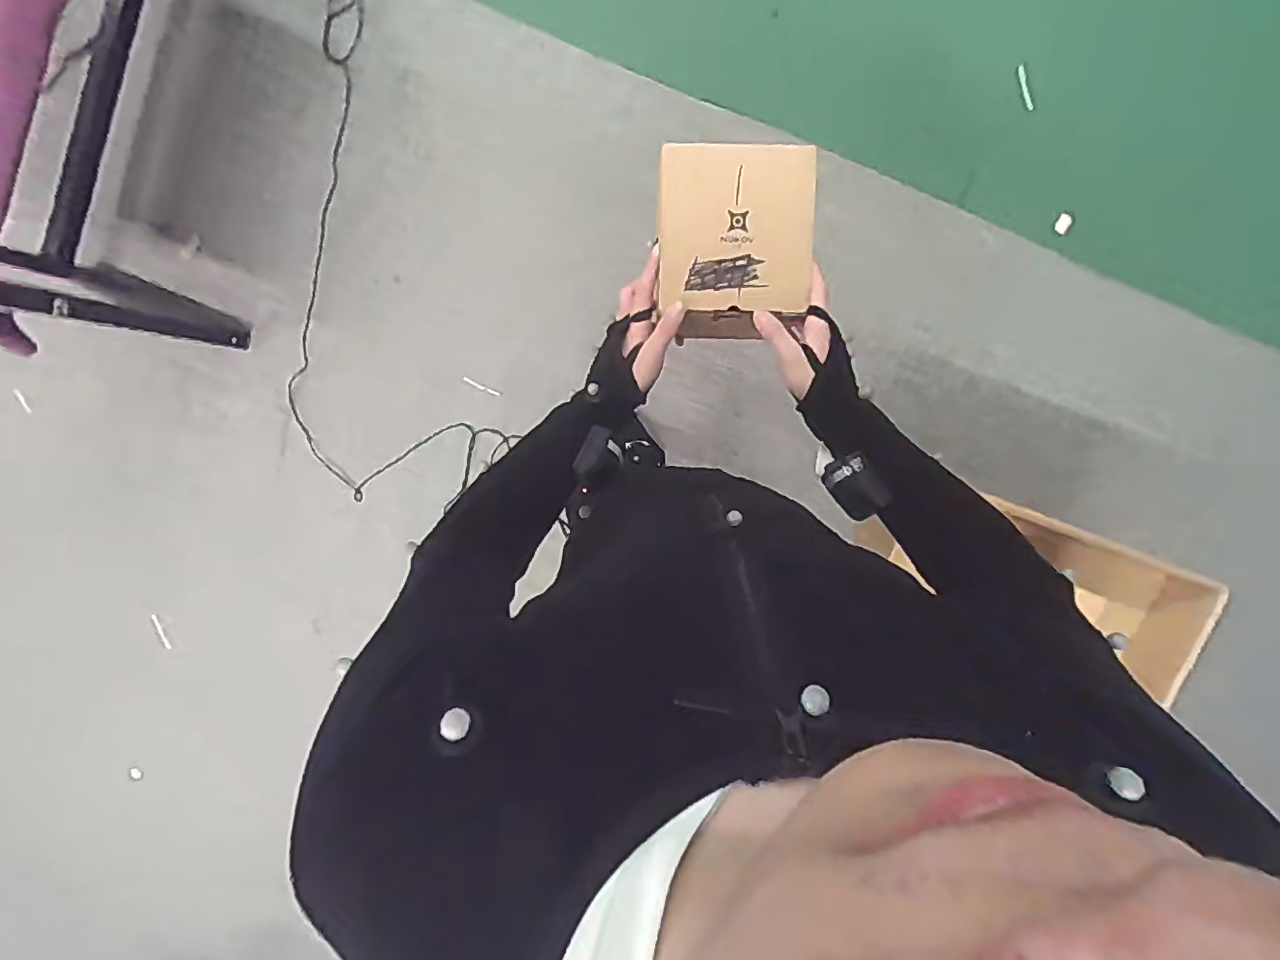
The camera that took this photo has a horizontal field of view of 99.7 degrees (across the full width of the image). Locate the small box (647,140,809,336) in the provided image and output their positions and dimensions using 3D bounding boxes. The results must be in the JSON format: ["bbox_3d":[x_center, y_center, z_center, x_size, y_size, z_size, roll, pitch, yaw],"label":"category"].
[{"bbox_3d":[0.094,-0.273,0.648,0.168,0.176,0.179,0,94,0],"label":"small box"}]
